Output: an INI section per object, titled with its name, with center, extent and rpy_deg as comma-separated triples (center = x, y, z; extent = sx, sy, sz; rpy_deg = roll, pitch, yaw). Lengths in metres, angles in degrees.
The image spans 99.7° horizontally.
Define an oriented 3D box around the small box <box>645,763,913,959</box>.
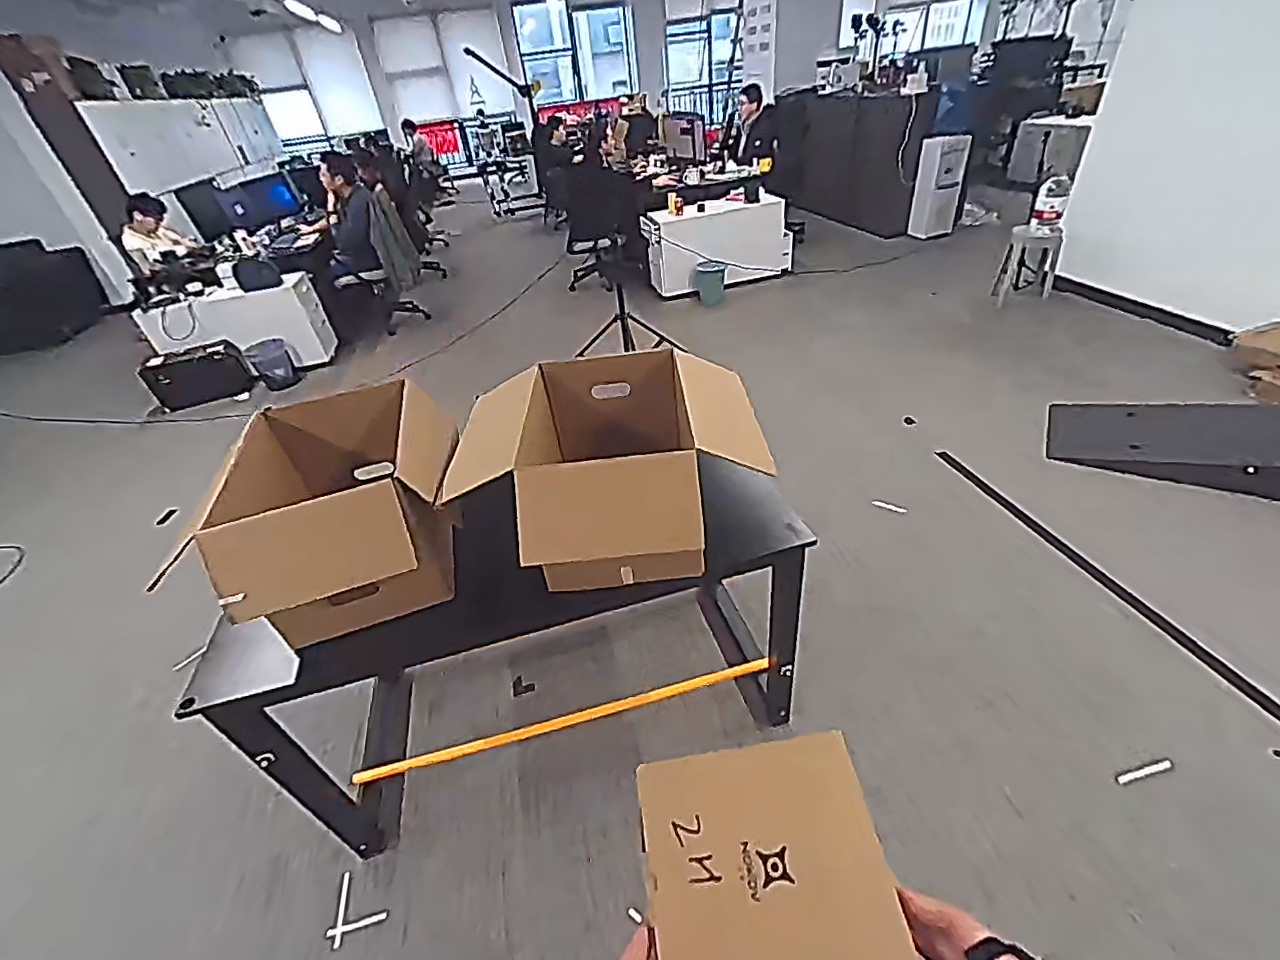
[small box]
center = 0.107, 0.359, 0.459
extent = 0.179, 0.176, 0.168
rpy_deg = -11, 49, 2
